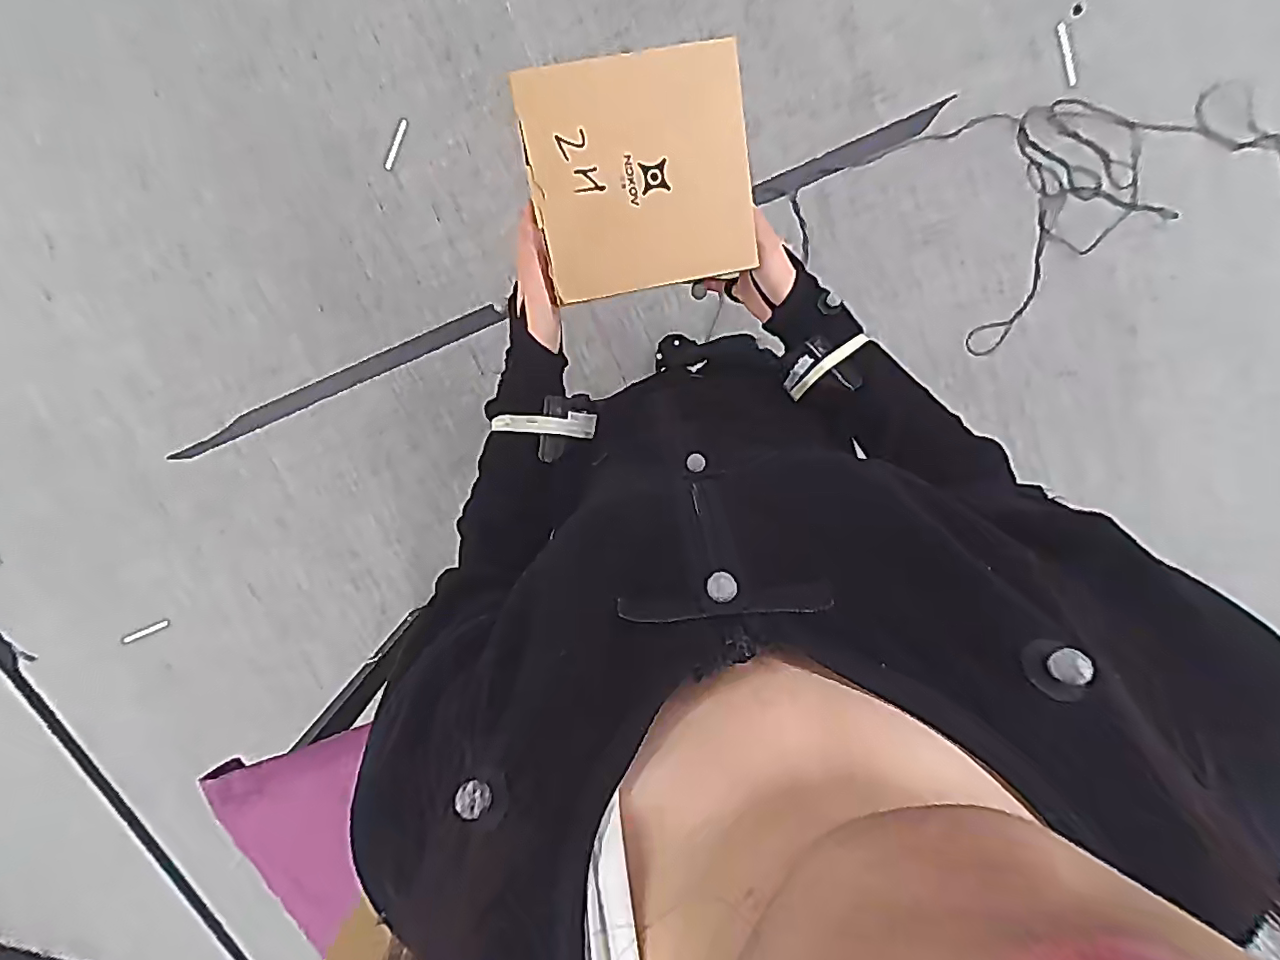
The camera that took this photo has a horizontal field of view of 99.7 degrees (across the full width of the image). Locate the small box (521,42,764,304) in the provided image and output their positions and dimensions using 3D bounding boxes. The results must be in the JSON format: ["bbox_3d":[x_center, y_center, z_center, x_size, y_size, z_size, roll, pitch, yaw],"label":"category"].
[{"bbox_3d":[-0.003,-0.262,0.499,0.179,0.176,0.168,-12,109,-5],"label":"small box"}]
